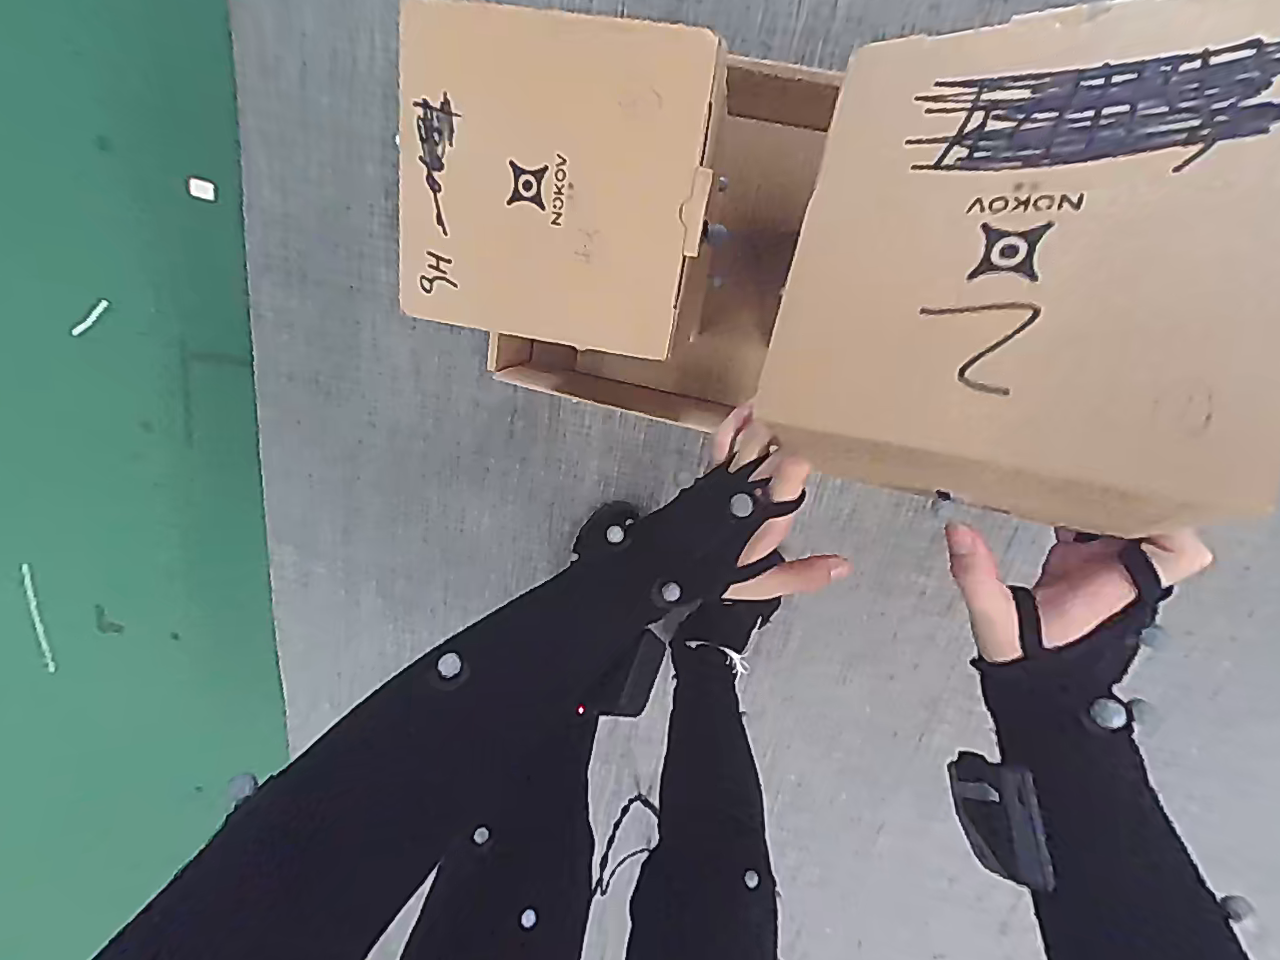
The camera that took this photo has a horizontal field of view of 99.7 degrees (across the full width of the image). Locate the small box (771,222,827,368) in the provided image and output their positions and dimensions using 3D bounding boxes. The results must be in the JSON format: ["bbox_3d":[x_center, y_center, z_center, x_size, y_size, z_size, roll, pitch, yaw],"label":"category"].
[{"bbox_3d":[0.272,-0.207,0.663,0.179,0.176,0.168,15,110,4],"label":"small box"}]

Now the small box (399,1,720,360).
[{"bbox_3d":[-0.043,-0.189,0.382,0.179,0.176,0.168,11,110,6],"label":"small box"}]
